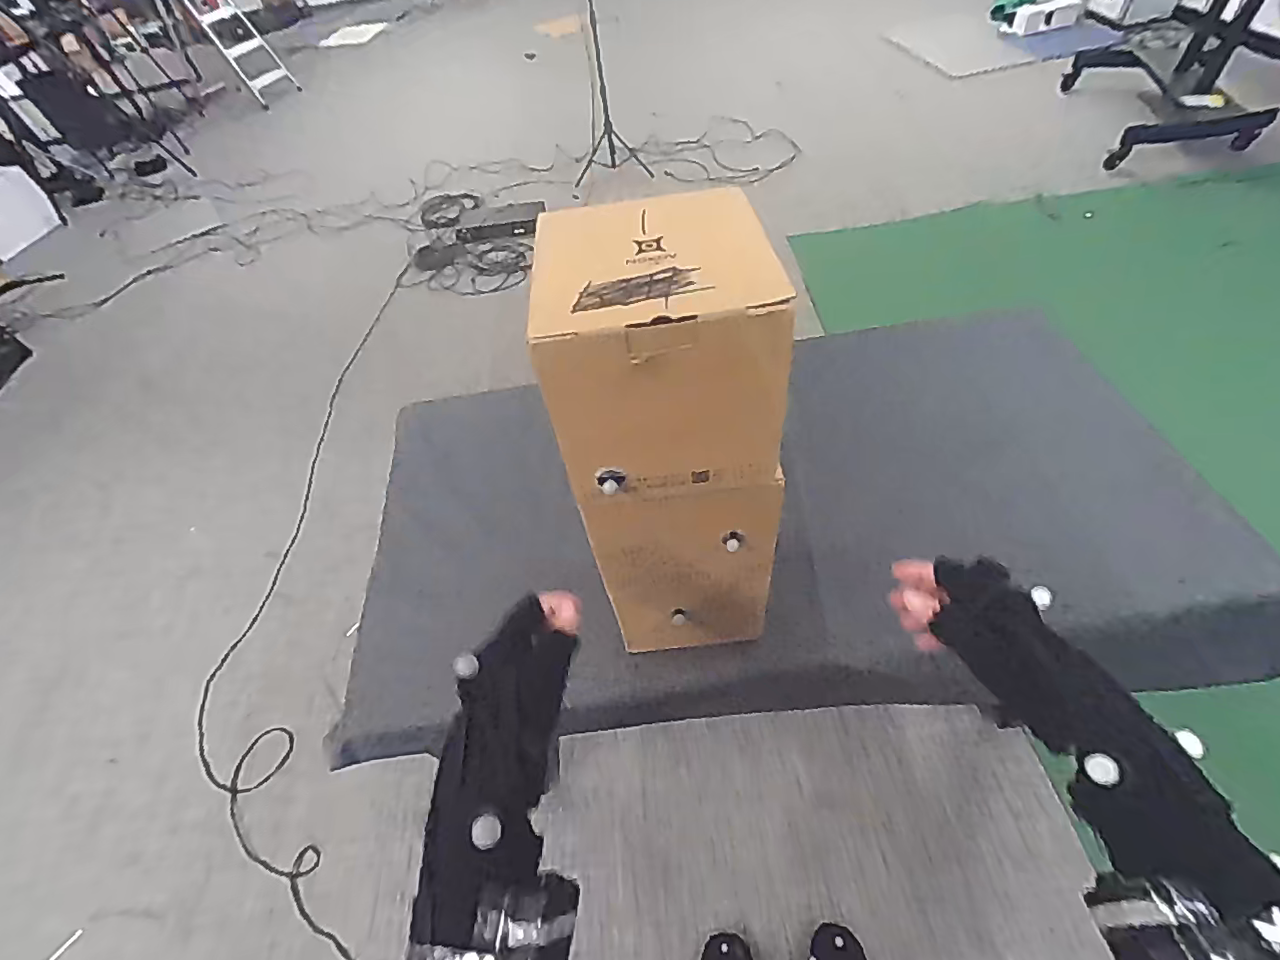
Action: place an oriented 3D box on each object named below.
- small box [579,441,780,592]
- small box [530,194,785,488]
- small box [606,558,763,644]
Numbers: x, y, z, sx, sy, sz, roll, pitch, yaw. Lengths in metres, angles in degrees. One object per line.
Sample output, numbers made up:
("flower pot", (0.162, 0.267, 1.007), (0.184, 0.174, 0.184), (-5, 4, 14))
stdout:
("small box", (0.037, 0.001, 0.572), (0.179, 0.176, 0.168), (-8, 49, 3))
("small box", (0.014, -0.106, 0.449), (0.168, 0.176, 0.179), (-6, 49, 2))
("small box", (0.055, 0.099, 0.700), (0.179, 0.176, 0.168), (-7, 51, 3))
